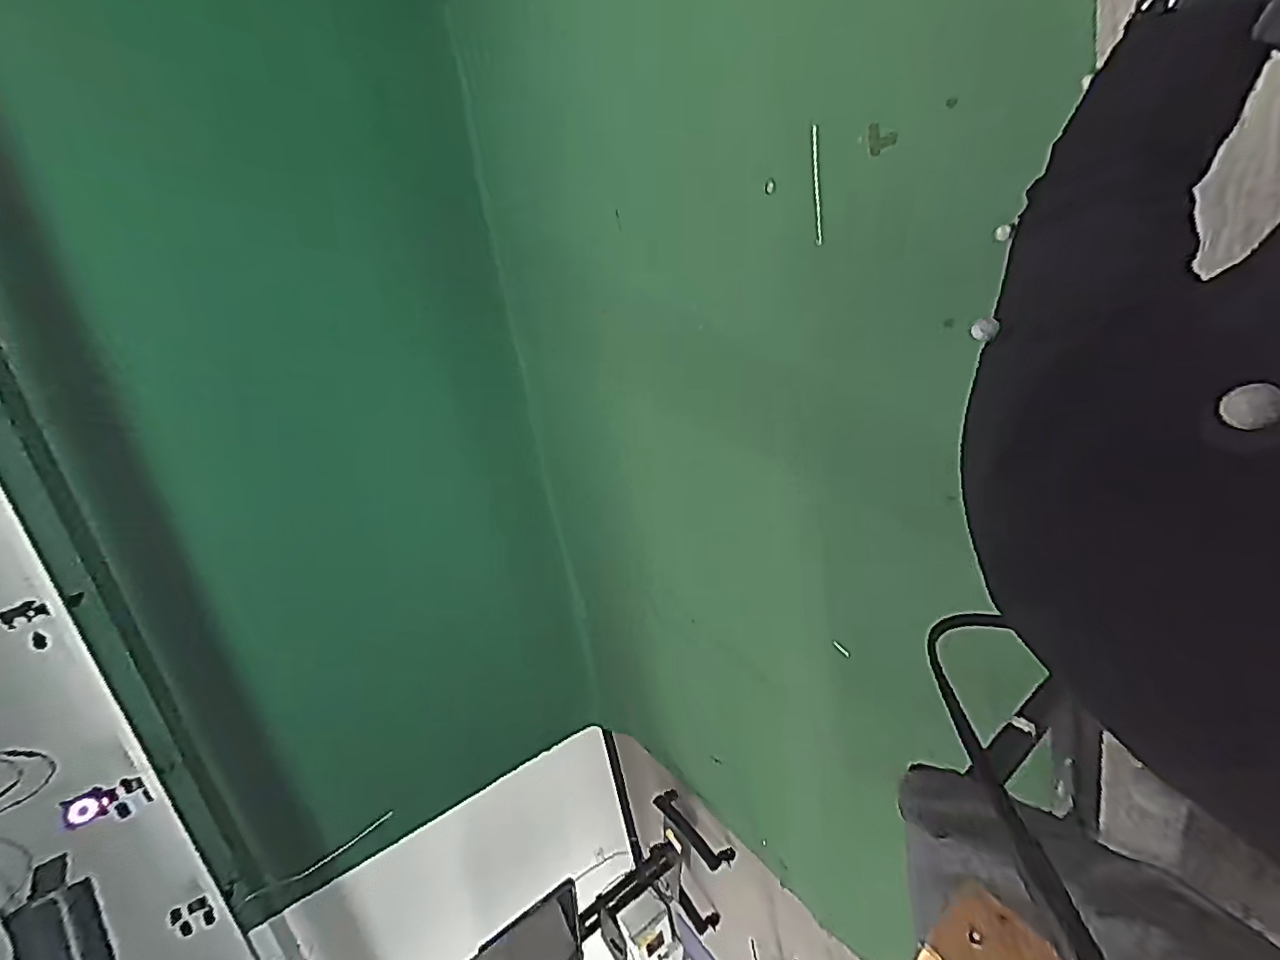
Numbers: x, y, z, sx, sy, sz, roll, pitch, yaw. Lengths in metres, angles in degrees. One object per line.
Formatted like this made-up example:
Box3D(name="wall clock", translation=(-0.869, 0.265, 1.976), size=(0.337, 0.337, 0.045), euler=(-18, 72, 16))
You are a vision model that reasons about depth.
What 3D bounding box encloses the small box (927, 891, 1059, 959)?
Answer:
Box3D(name="small box", translation=(0.589, 0.845, 0.899), size=(0.168, 0.176, 0.179), euler=(31, 134, 48))
